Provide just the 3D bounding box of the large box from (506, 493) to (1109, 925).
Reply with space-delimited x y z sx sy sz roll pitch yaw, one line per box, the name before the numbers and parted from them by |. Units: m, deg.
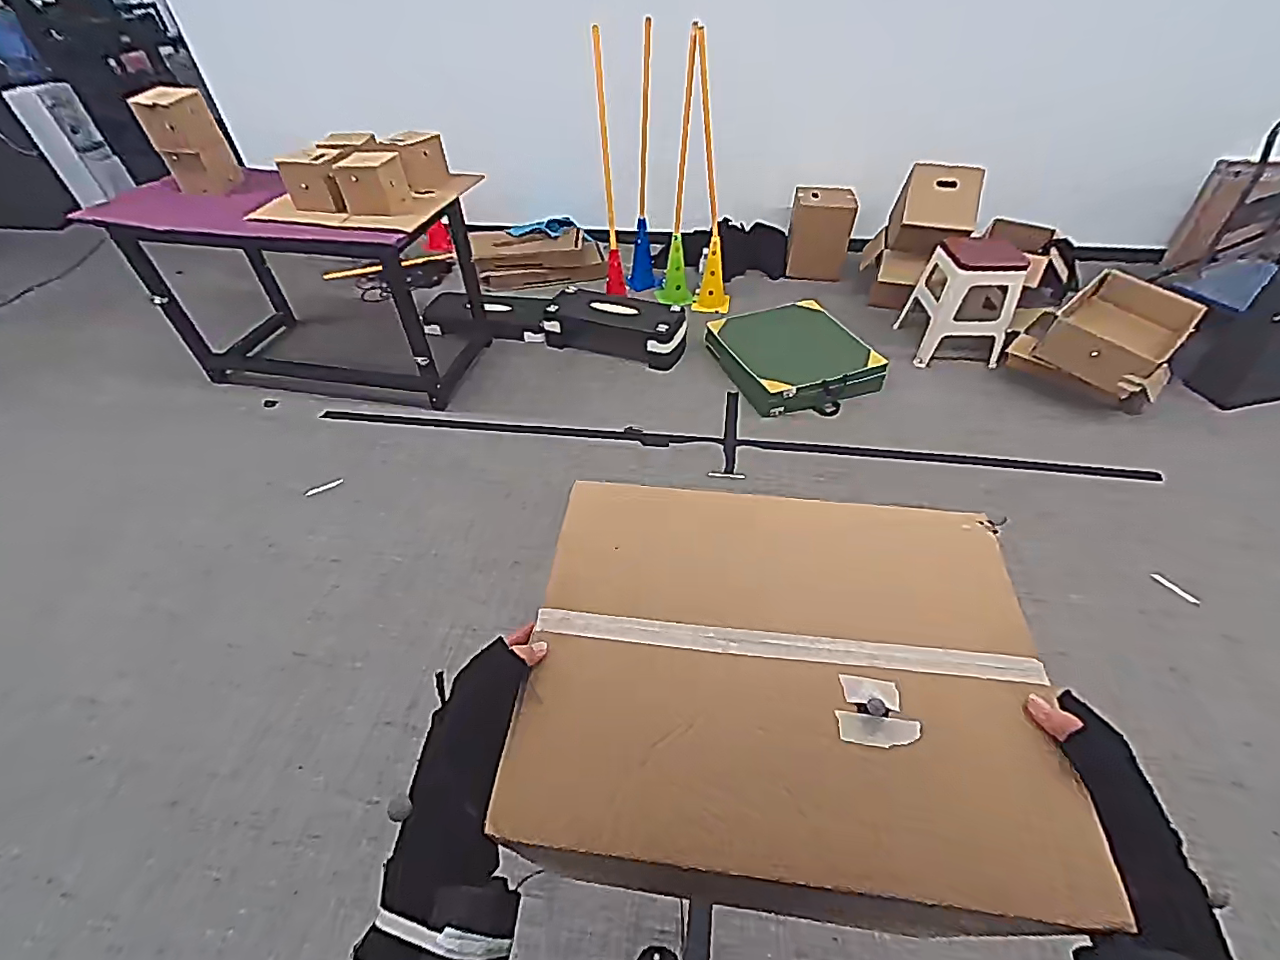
large box | 0.119 0.238 0.563 0.408 0.320 0.320 5 51 5
